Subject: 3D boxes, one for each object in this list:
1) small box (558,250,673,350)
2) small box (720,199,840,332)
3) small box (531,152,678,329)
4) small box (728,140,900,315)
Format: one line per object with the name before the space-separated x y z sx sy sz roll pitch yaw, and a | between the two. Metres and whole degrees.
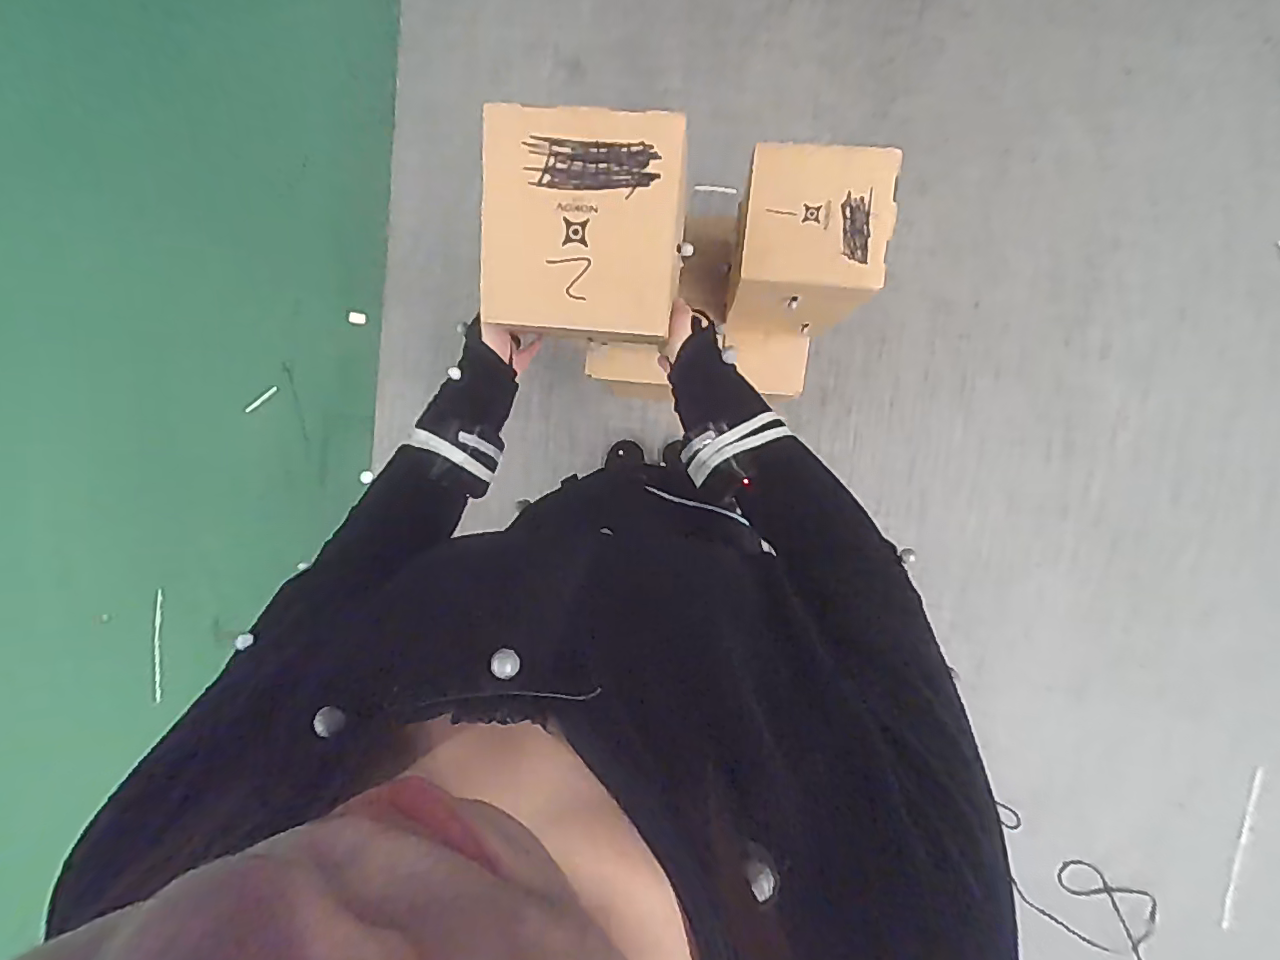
small box | -0.034 -0.324 0.923 0.168 0.176 0.179 8 97 2
small box | 0.234 -0.348 0.903 0.179 0.176 0.168 6 96 5
small box | -0.042 -0.318 0.758 0.168 0.176 0.179 10 97 1
small box | 0.223 -0.331 0.741 0.179 0.176 0.168 8 96 5
